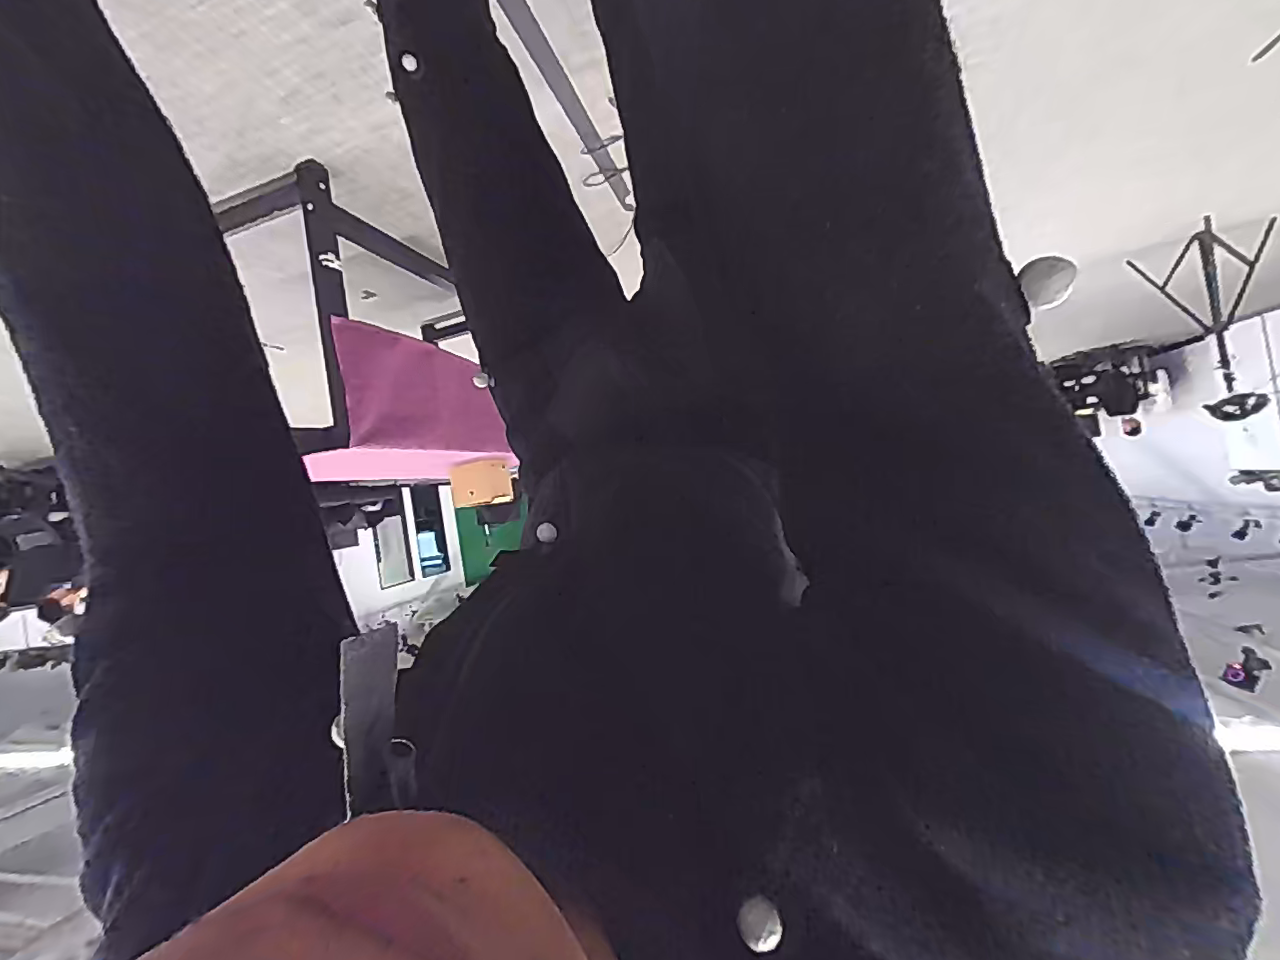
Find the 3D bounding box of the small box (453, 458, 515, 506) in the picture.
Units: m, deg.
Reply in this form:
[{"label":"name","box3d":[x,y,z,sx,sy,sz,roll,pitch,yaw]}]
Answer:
[{"label":"small box","box3d":[-0.643,0.004,2.213,0.179,0.176,0.168,-9,179,25]}]
